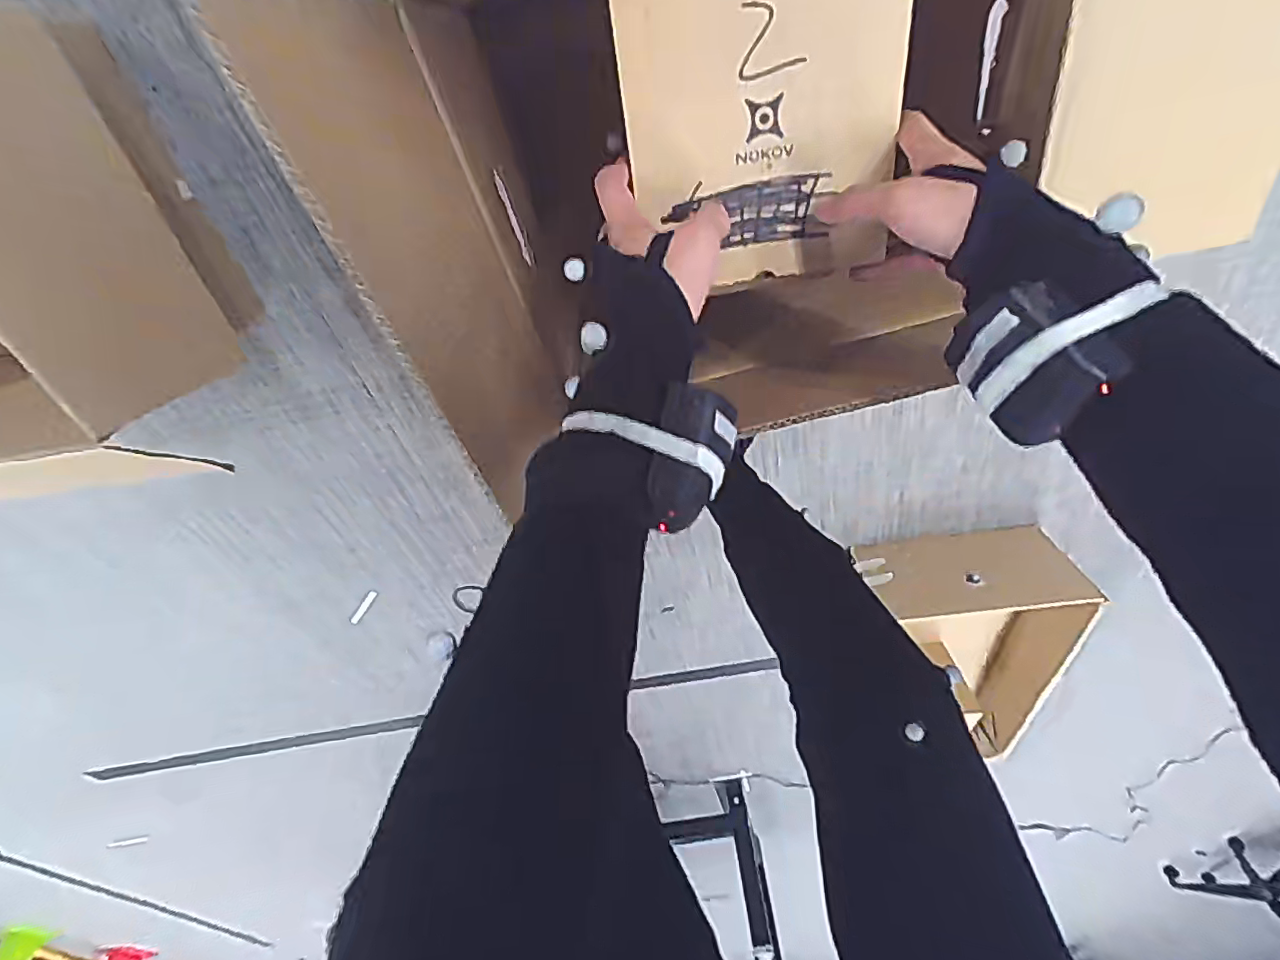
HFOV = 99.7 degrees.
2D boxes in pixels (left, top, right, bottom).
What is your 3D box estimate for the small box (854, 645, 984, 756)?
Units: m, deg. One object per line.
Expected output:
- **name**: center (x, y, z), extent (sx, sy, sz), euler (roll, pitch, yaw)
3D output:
- **small box**: center (0.596, 0.478, 1.184), extent (0.179, 0.176, 0.168), euler (-1, 128, -3)
